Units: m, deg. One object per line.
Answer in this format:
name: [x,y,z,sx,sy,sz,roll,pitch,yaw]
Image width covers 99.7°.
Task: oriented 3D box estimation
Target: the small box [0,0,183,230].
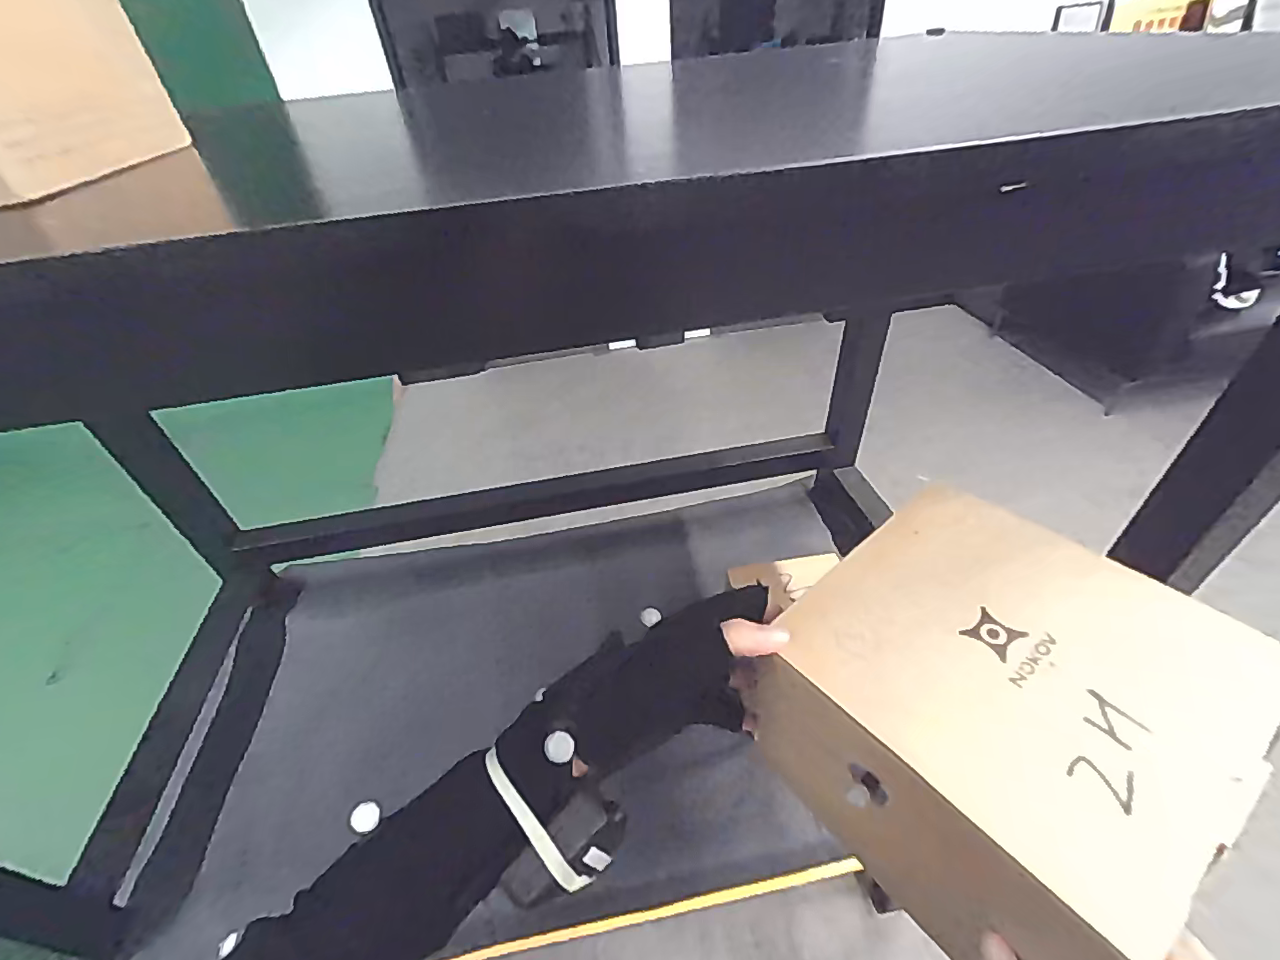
small box: [-0.366,-0.210,0.242,0.168,0.176,0.179,-11,40,-6]
